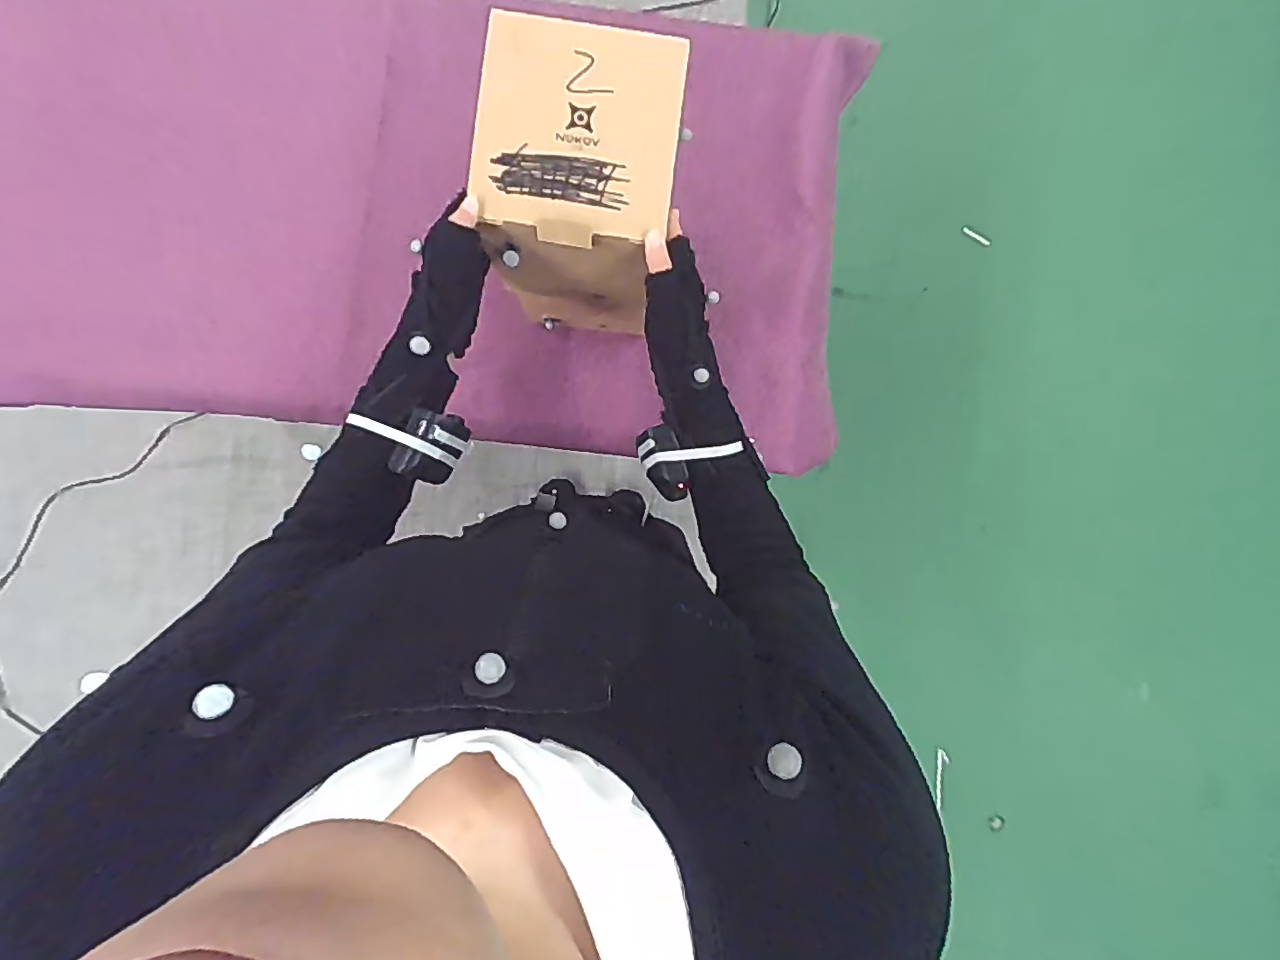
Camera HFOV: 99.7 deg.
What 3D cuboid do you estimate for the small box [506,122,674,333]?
[{"bbox_3d":[-0.059,-0.298,0.680,0.168,0.176,0.179,9,90,-4],"label":"small box"}]
